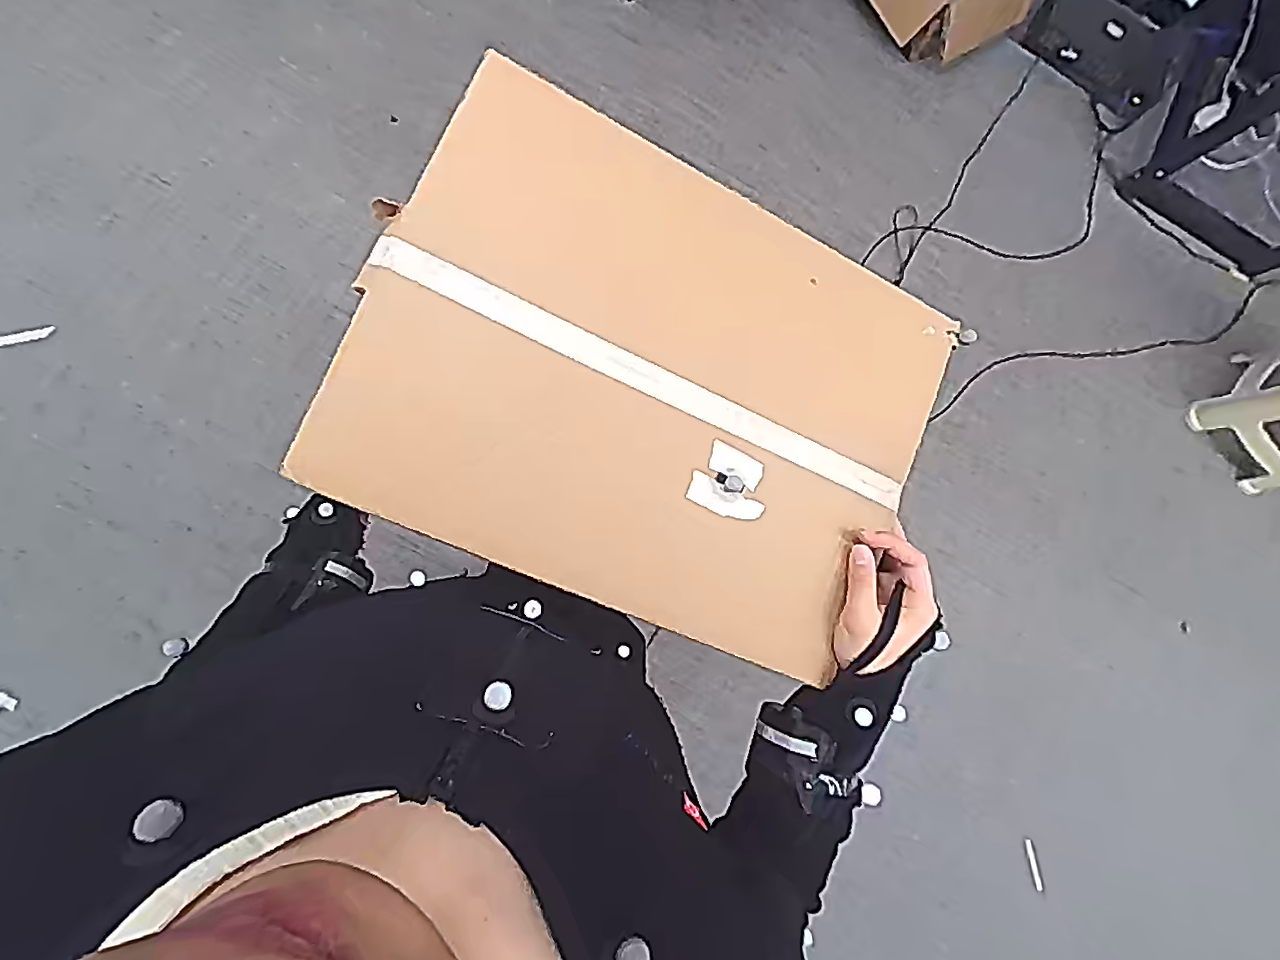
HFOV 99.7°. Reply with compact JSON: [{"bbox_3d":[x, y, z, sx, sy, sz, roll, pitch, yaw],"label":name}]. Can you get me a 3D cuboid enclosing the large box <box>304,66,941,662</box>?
[{"bbox_3d":[-0.016,-0.068,0.536,0.408,0.320,0.320,24,84,-13],"label":"large box"}]
